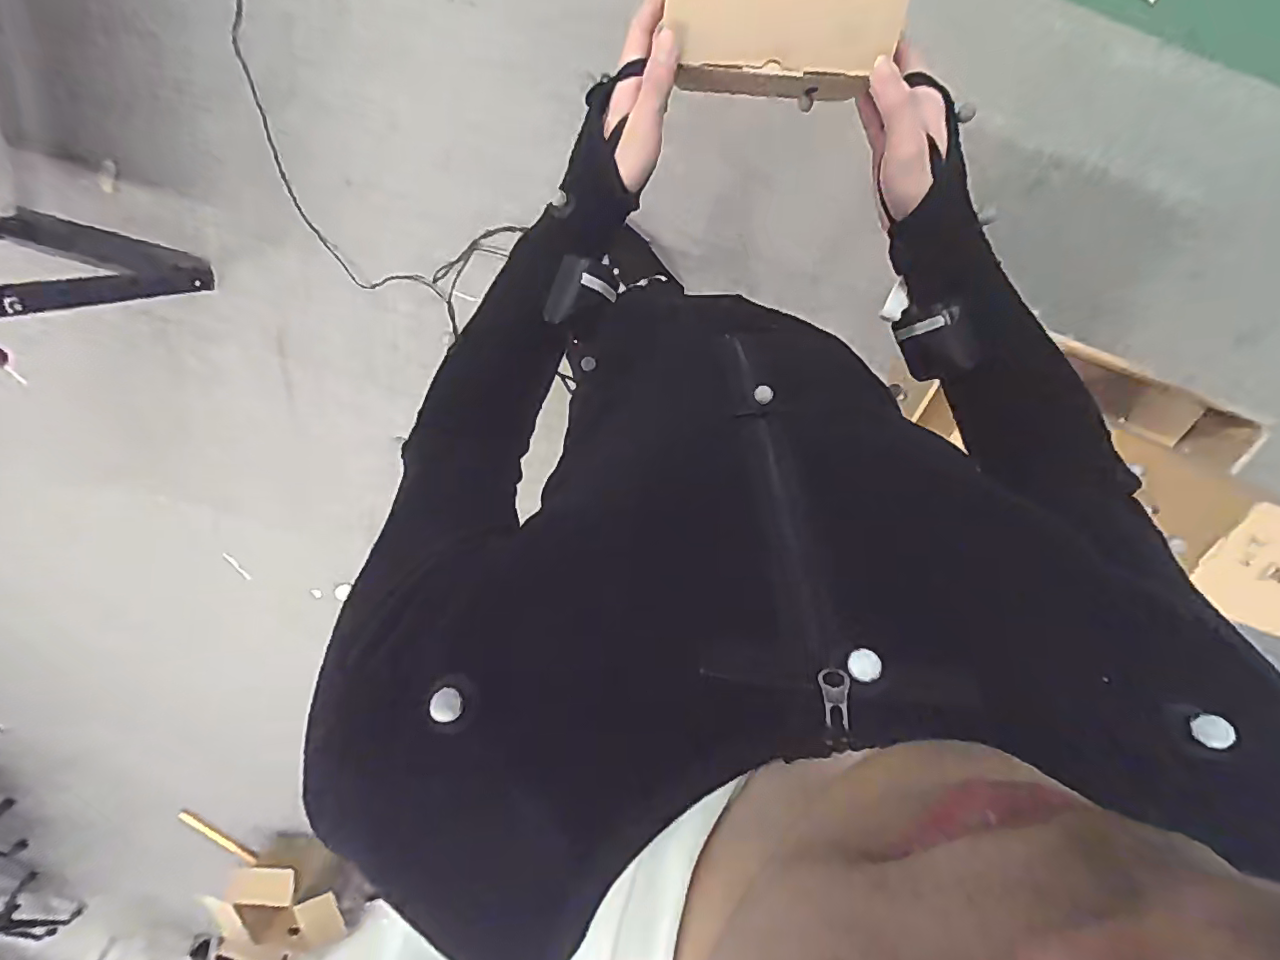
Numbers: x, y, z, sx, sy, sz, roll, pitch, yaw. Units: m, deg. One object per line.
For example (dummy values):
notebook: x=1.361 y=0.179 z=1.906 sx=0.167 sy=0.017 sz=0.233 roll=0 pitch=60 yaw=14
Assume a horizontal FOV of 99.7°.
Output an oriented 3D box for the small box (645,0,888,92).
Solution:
small box: x=0.102 y=-0.411 z=0.411 sx=0.168 sy=0.176 sz=0.179 roll=7 pitch=122 yaw=5

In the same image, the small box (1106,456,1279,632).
small box: x=0.850 y=0.085 z=0.778 sx=0.179 sy=0.176 sz=0.168 roll=19 pitch=115 yaw=-1

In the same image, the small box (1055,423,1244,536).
small box: x=0.883 y=0.021 z=0.928 sx=0.179 sy=0.176 sz=0.168 roll=21 pitch=116 yaw=-2
